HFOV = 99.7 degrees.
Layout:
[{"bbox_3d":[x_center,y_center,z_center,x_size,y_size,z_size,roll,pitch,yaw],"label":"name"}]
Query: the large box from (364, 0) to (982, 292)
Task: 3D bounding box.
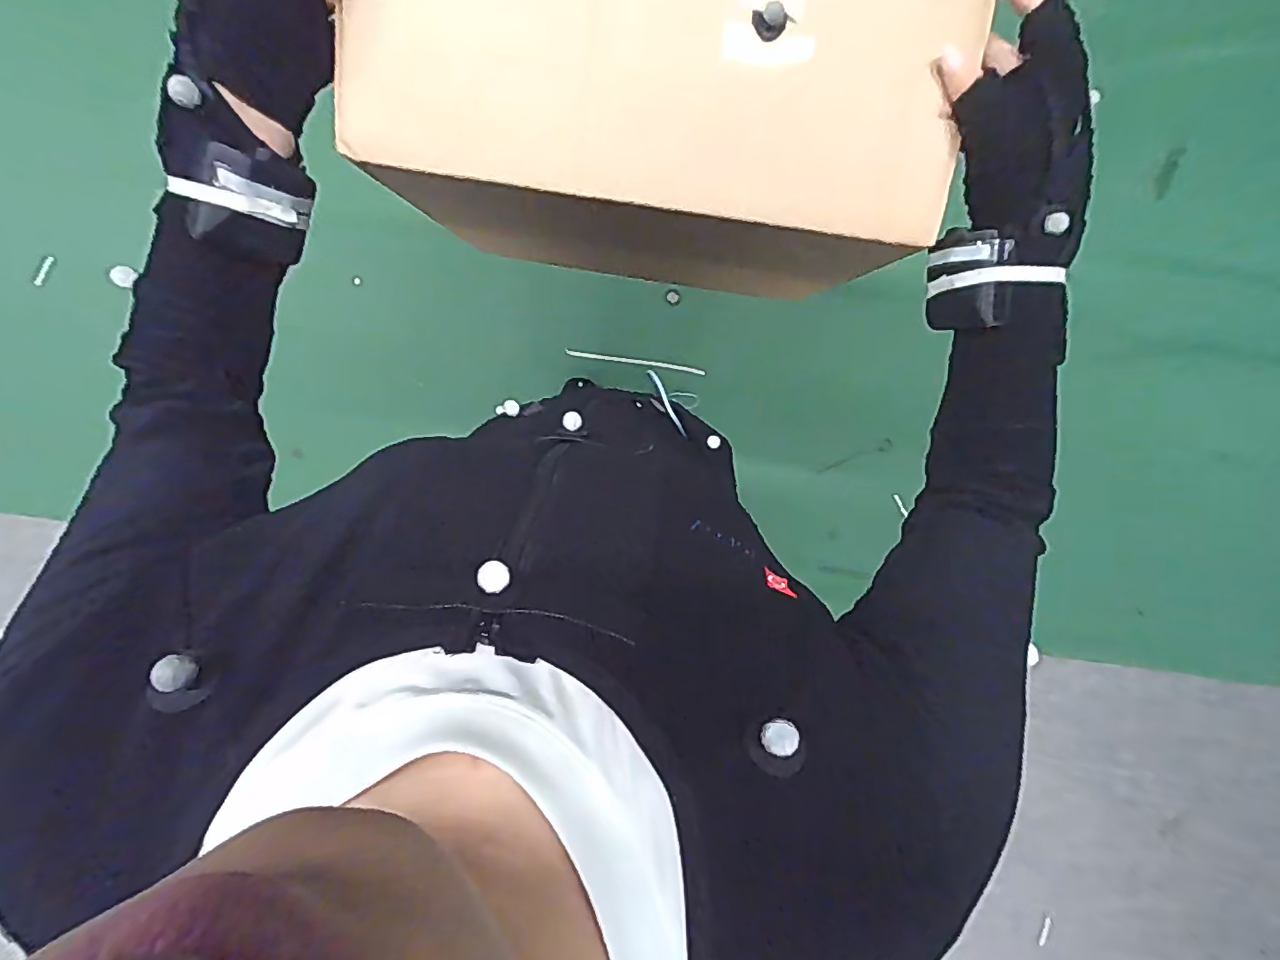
[{"bbox_3d":[0.026,-0.374,0.489,0.408,0.320,0.320,8,102,-1],"label":"large box"}]
